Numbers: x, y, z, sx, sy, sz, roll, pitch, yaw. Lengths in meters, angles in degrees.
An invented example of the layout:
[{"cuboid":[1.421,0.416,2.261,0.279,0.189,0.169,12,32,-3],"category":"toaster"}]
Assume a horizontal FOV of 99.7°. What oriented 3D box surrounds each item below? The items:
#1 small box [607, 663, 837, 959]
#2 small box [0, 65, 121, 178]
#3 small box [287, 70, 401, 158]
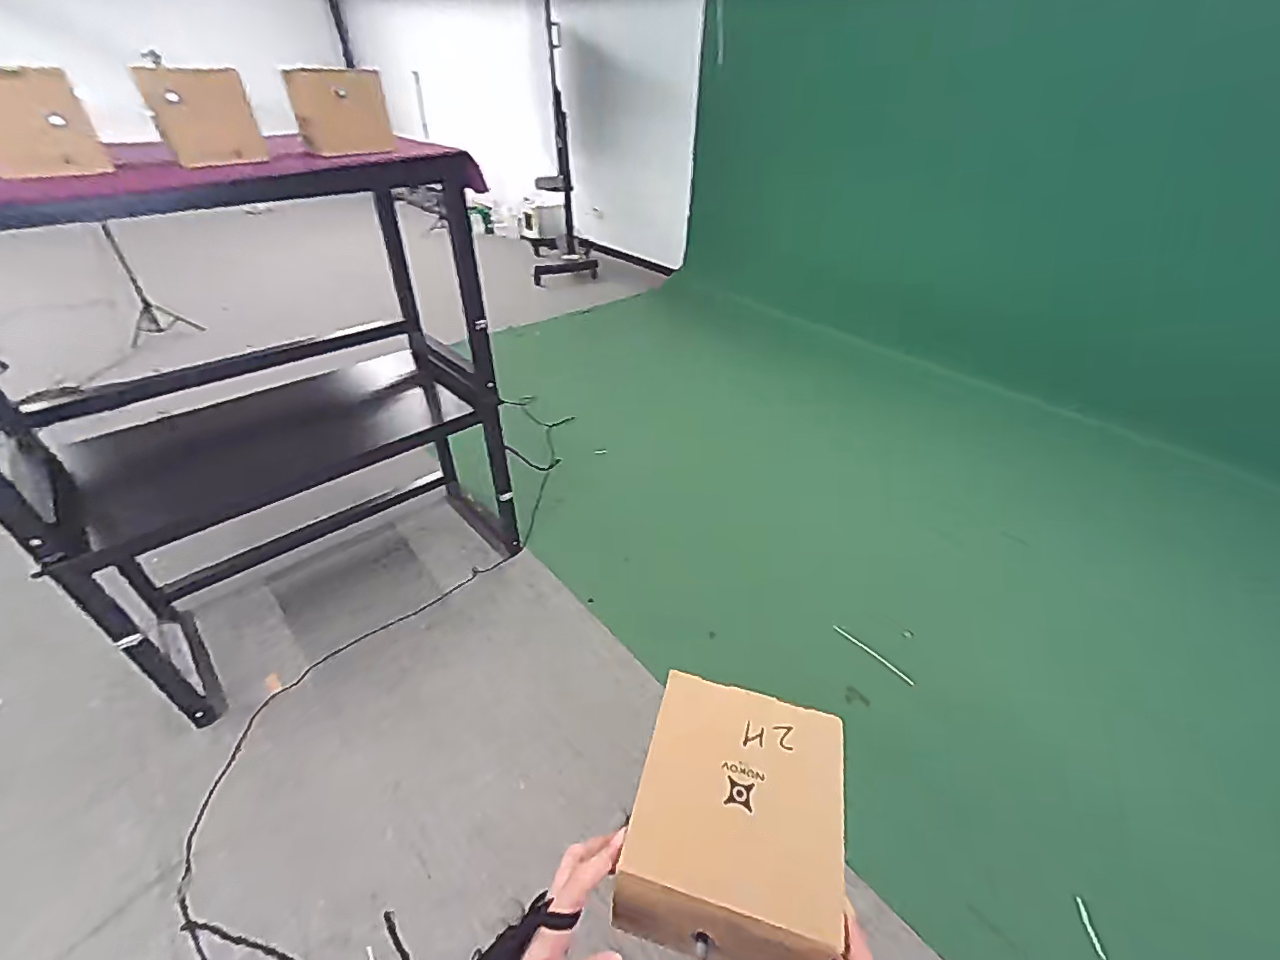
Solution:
[{"cuboid":[0.074,0.308,0.496,0.168,0.176,0.179,13,39,10],"category":"small box"},{"cuboid":[-1.125,-0.674,1.017,0.168,0.176,0.179,-26,44,-32],"category":"small box"},{"cuboid":[-0.717,-0.892,1.321,0.179,0.176,0.168,-28,45,-33],"category":"small box"}]
